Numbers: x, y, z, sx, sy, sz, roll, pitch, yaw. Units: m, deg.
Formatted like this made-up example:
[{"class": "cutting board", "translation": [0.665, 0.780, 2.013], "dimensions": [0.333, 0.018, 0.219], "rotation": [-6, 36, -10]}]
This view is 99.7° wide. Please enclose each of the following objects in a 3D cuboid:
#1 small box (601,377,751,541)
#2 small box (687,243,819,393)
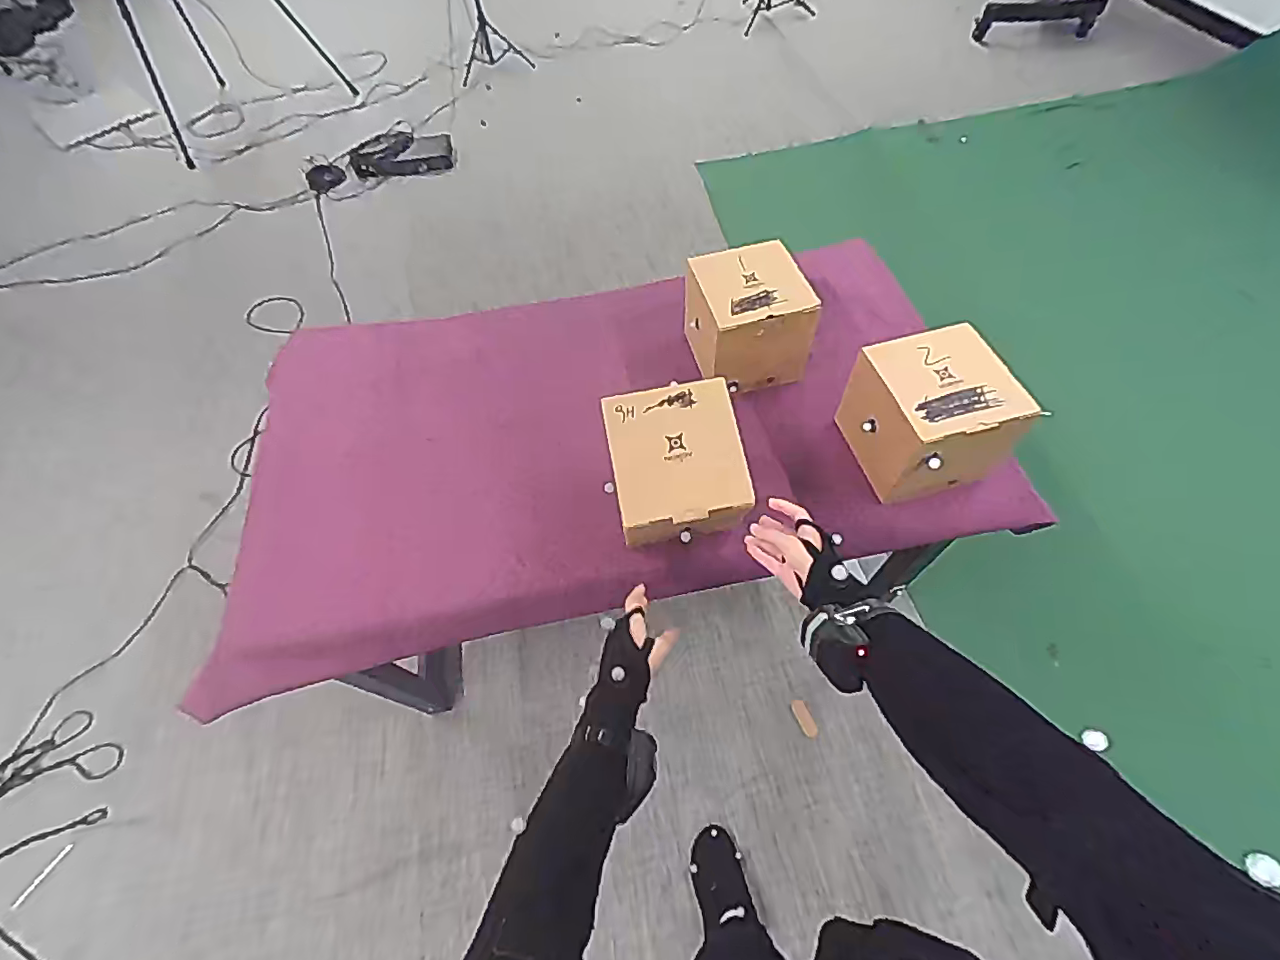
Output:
[{"class": "small box", "translation": [0.045, -0.017, 0.754], "dimensions": [0.168, 0.176, 0.179], "rotation": [-10, 73, -2]}, {"class": "small box", "translation": [0.181, -0.266, 0.920], "dimensions": [0.168, 0.176, 0.179], "rotation": [-13, 58, -4]}]
